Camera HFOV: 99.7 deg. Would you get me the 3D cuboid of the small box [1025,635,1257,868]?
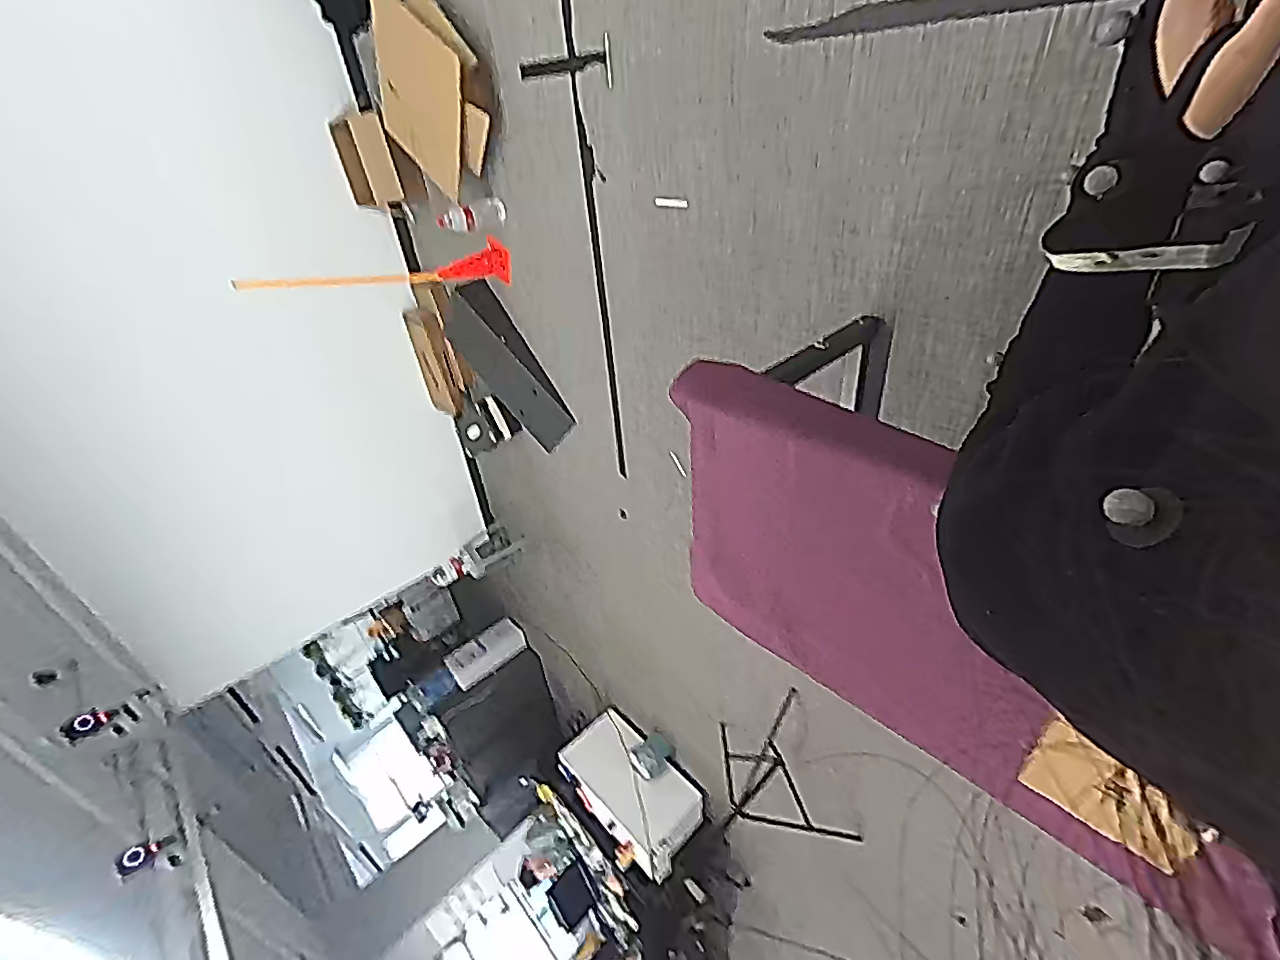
[{"bbox_3d":[0.645,0.339,0.704,0.168,0.176,0.179,27,137,39],"label":"small box"}]
